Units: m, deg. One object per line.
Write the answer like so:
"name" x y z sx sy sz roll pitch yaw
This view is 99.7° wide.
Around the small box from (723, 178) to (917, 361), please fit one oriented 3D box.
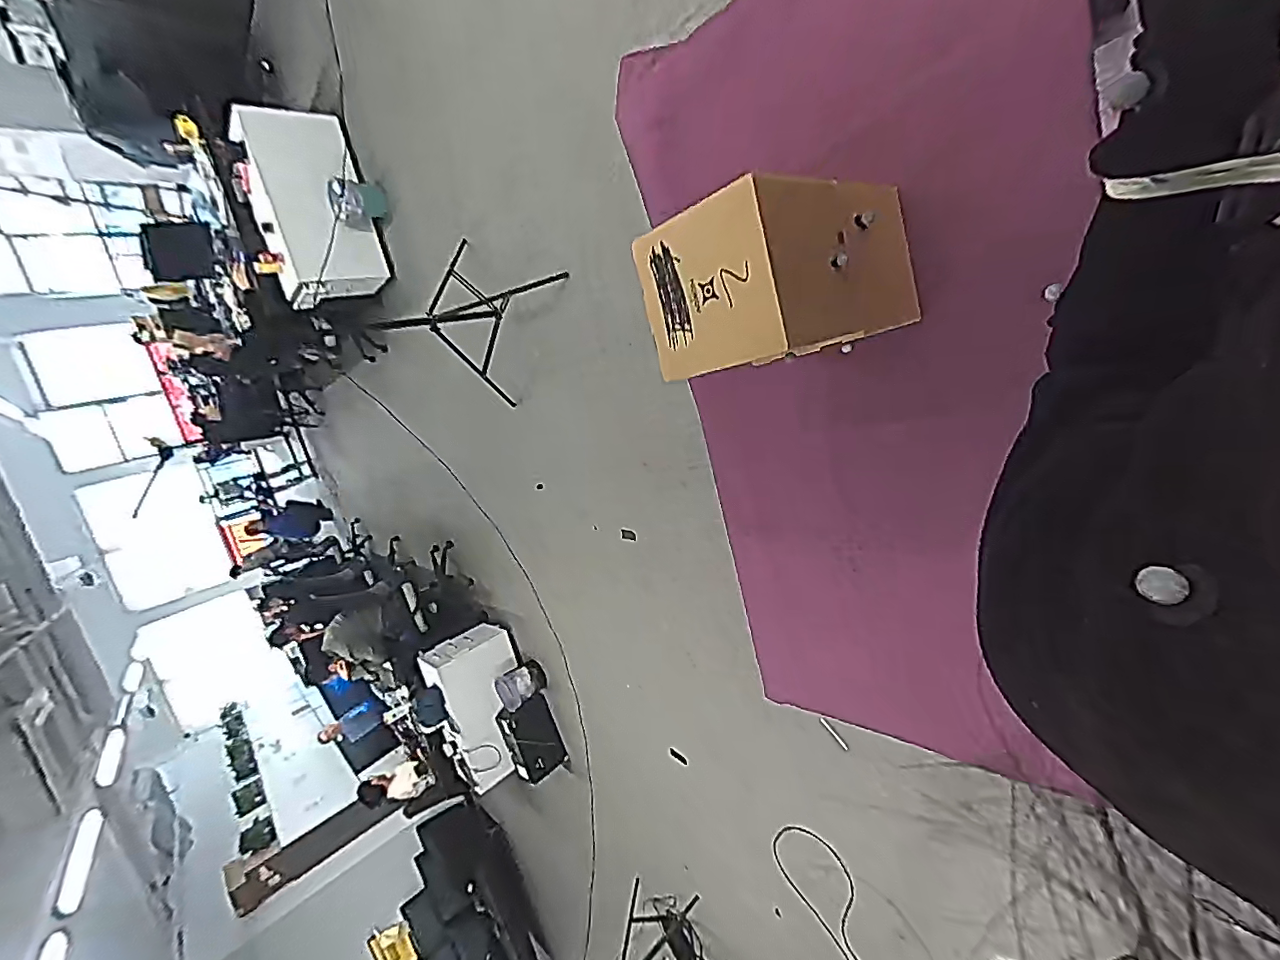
"small box" 0.242 -0.273 0.722 0.168 0.176 0.179 -5 105 51
